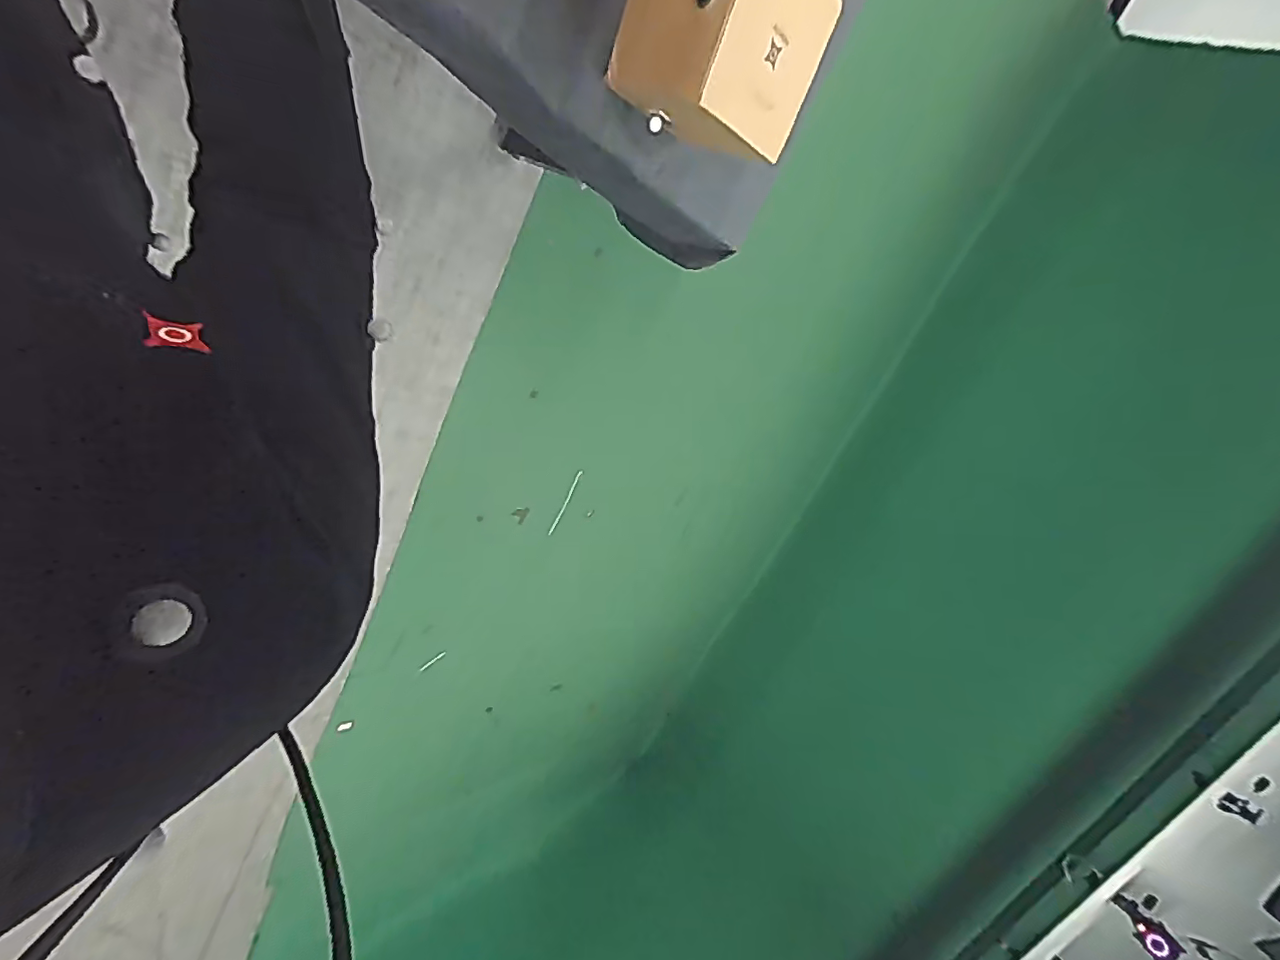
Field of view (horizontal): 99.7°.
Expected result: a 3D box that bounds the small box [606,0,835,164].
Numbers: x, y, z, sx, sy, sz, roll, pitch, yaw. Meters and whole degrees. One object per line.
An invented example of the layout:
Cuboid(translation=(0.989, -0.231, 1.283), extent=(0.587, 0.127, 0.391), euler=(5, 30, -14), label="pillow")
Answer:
Cuboid(translation=(0.086, -0.508, 0.631), extent=(0.168, 0.176, 0.179), euler=(-4, 125, -48), label="small box")
